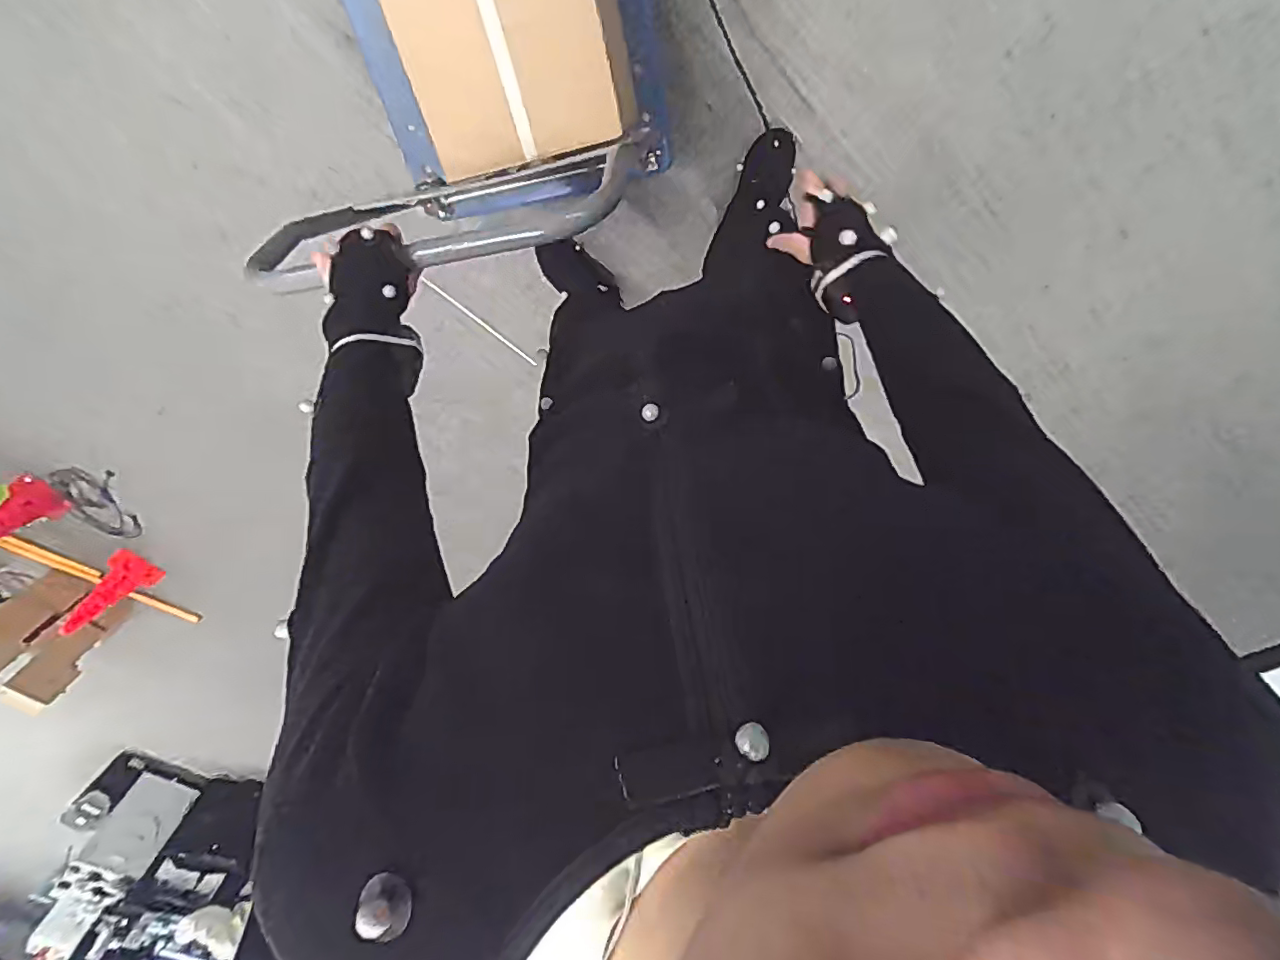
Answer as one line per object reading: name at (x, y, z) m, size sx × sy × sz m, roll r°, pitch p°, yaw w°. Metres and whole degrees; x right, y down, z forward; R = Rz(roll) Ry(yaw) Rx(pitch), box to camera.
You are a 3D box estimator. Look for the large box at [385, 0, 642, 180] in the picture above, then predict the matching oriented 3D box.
large box at (-0.200, -0.773, 0.899) m, size 0.320 × 0.320 × 0.408 m, roll -8°, pitch 125°, yaw 11°
